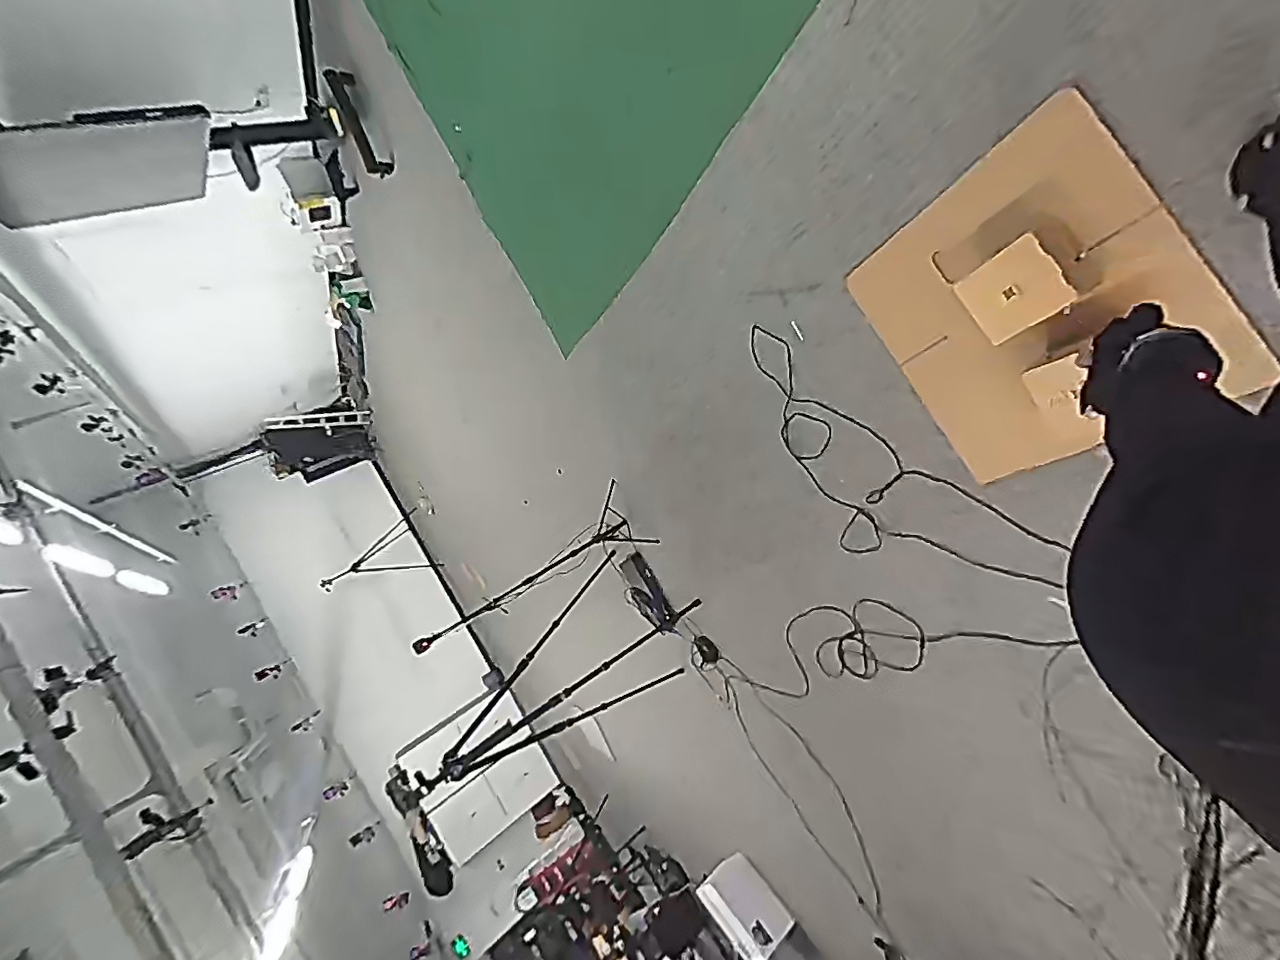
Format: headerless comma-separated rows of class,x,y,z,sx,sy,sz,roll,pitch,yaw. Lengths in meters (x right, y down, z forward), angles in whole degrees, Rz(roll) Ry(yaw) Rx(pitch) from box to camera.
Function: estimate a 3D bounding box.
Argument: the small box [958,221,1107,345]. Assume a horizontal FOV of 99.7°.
small box,0.842,-0.423,1.162,0.168,0.176,0.179,58,148,6
